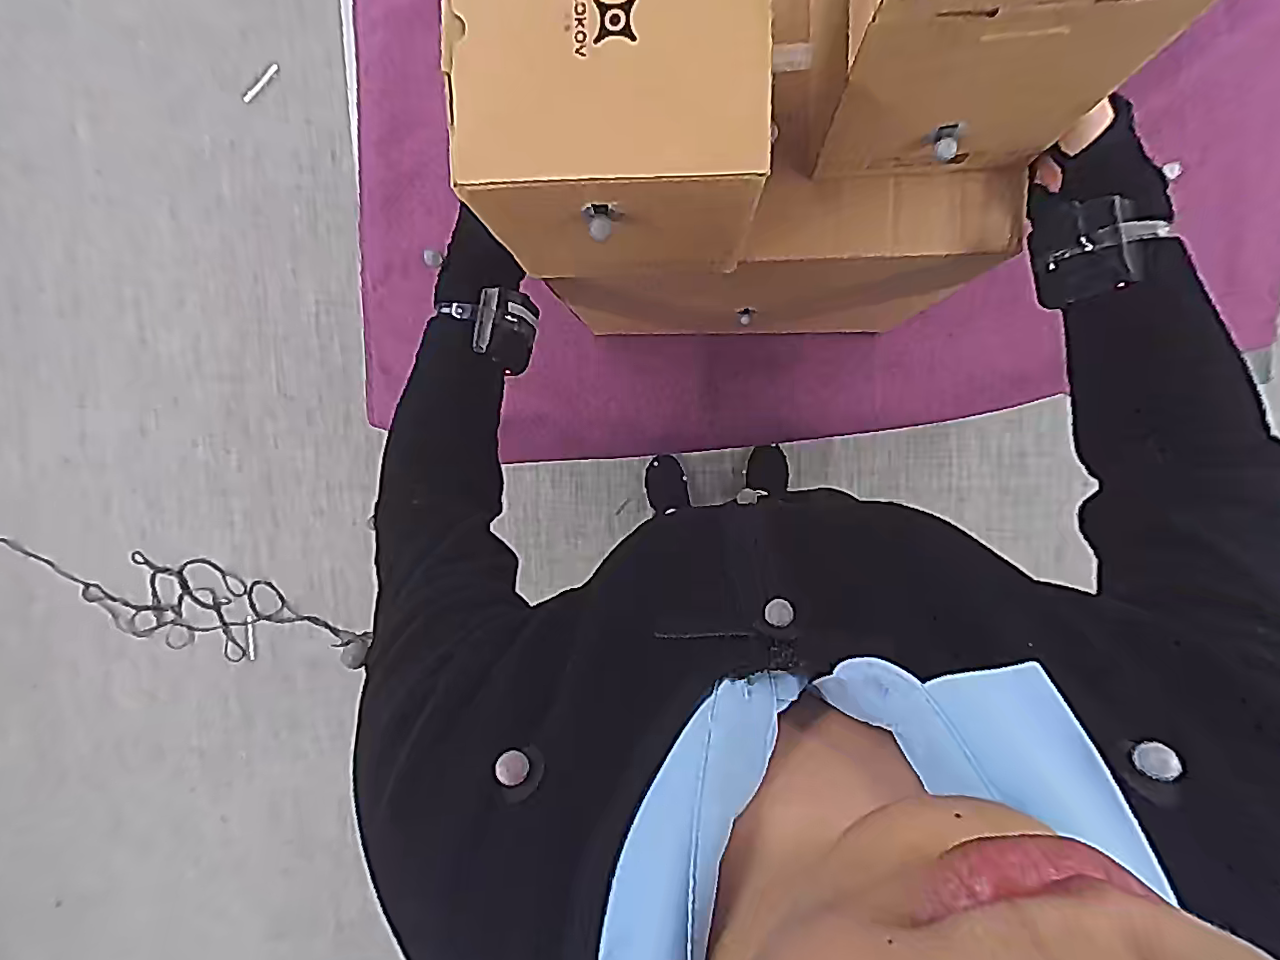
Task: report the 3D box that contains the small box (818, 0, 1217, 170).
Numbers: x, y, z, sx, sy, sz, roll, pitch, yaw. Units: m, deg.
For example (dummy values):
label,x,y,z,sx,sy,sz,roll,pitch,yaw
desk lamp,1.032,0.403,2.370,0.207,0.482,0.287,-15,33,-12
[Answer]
label,x,y,z,sx,sy,sz,roll,pitch,yaw
small box,0.210,-0.324,0.330,0.168,0.176,0.179,0,94,7

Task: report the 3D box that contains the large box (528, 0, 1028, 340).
label,x,y,z,sx,sy,sz,roll,pitch,yaw
large box,0.121,-0.340,0.585,0.408,0.320,0.320,0,92,6
